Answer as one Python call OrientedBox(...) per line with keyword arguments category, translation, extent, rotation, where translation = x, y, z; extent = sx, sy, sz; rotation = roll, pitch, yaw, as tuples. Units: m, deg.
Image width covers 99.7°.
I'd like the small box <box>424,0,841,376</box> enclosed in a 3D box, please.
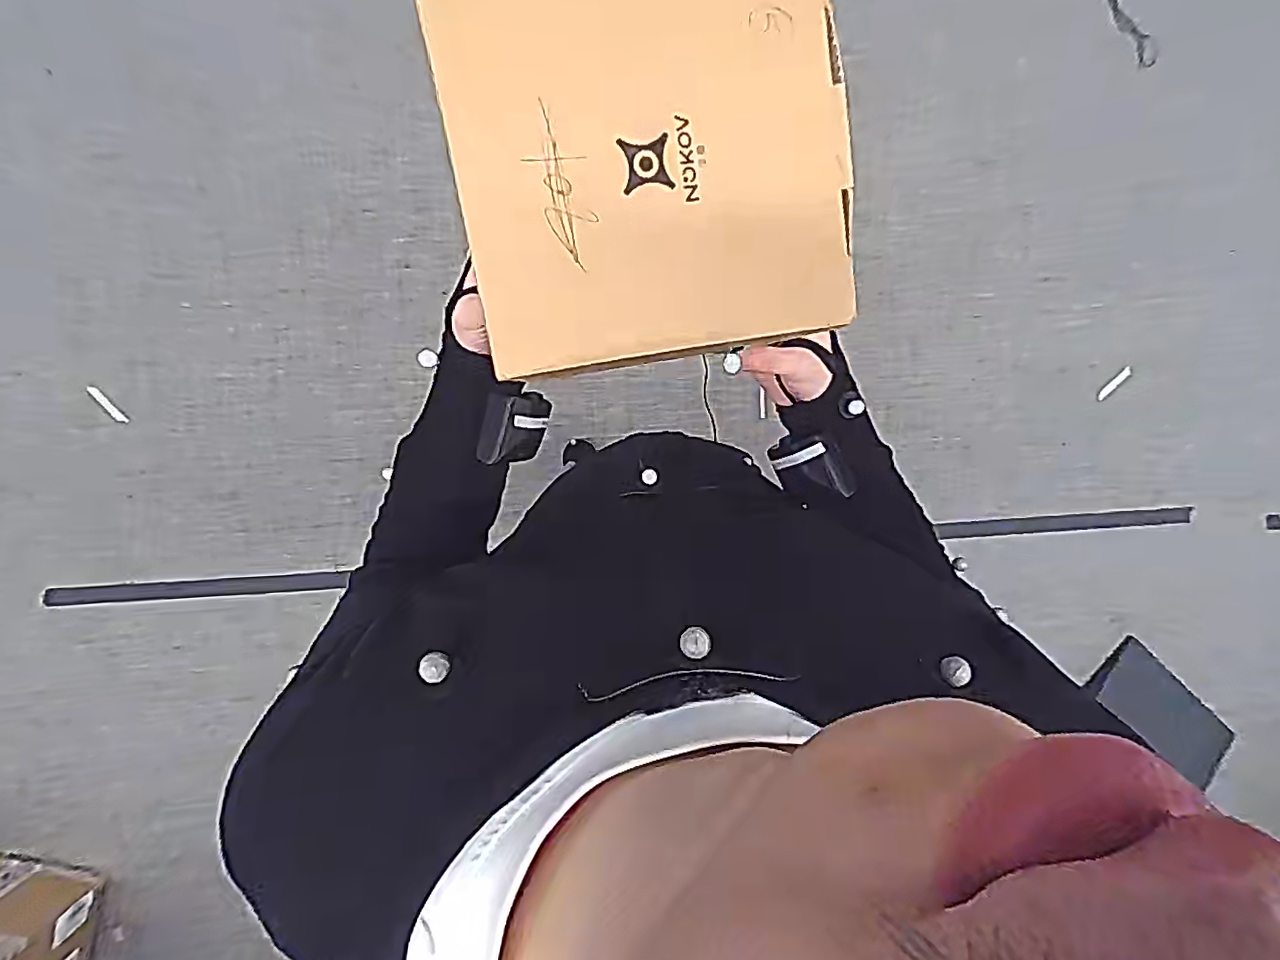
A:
OrientedBox(category="small box", translation=(-0.004, -0.159, 0.329), extent=(0.179, 0.176, 0.168), rotation=(-10, 101, -3))
